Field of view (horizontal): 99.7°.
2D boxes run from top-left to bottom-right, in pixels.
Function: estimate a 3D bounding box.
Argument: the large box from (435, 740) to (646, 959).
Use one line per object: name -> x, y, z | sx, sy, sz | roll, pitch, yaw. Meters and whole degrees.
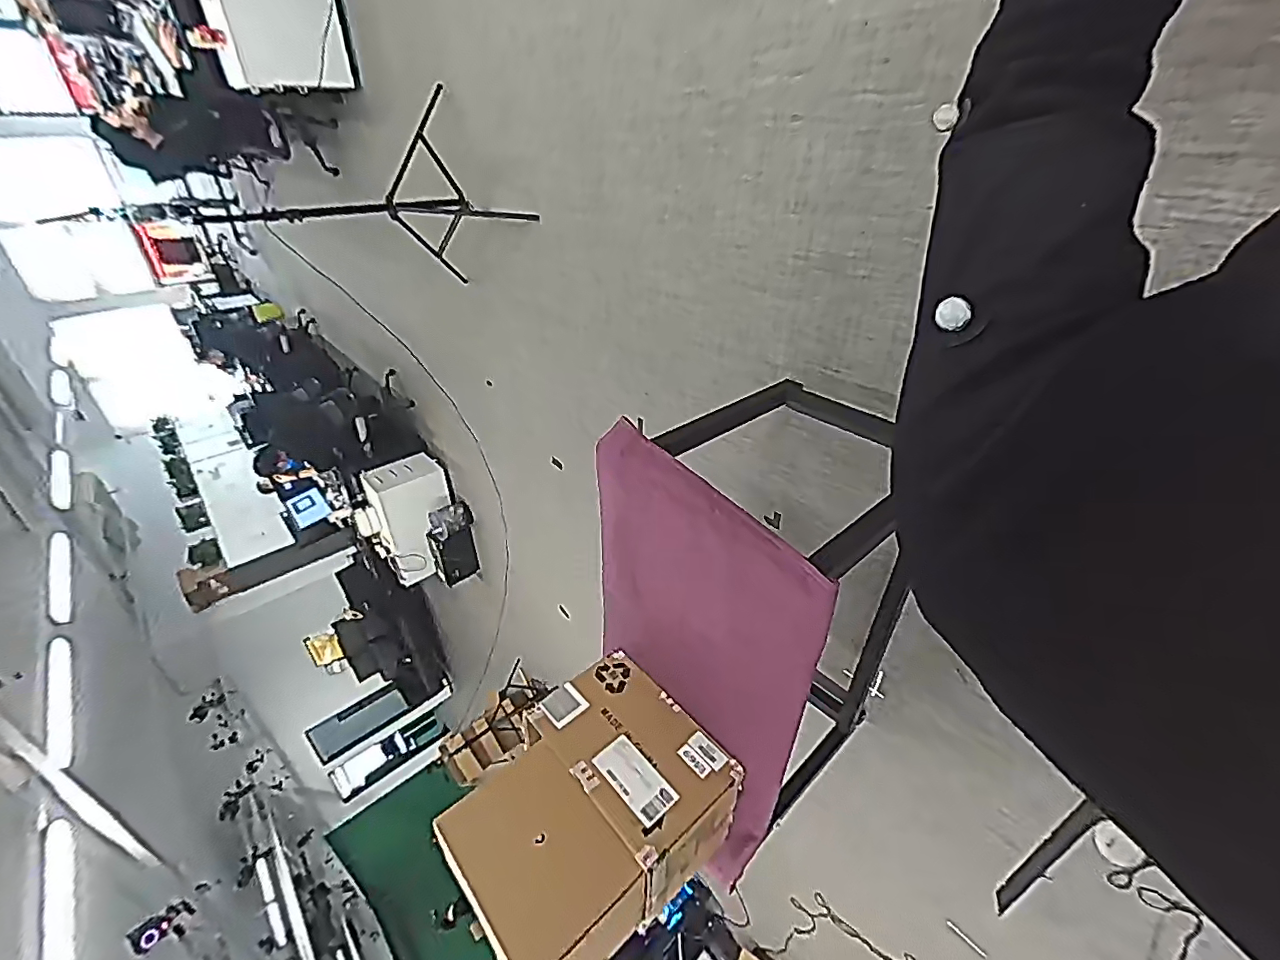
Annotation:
large box -> -0.230, 0.928, 1.285 | 0.408, 0.320, 0.320 | 32, 136, 38
